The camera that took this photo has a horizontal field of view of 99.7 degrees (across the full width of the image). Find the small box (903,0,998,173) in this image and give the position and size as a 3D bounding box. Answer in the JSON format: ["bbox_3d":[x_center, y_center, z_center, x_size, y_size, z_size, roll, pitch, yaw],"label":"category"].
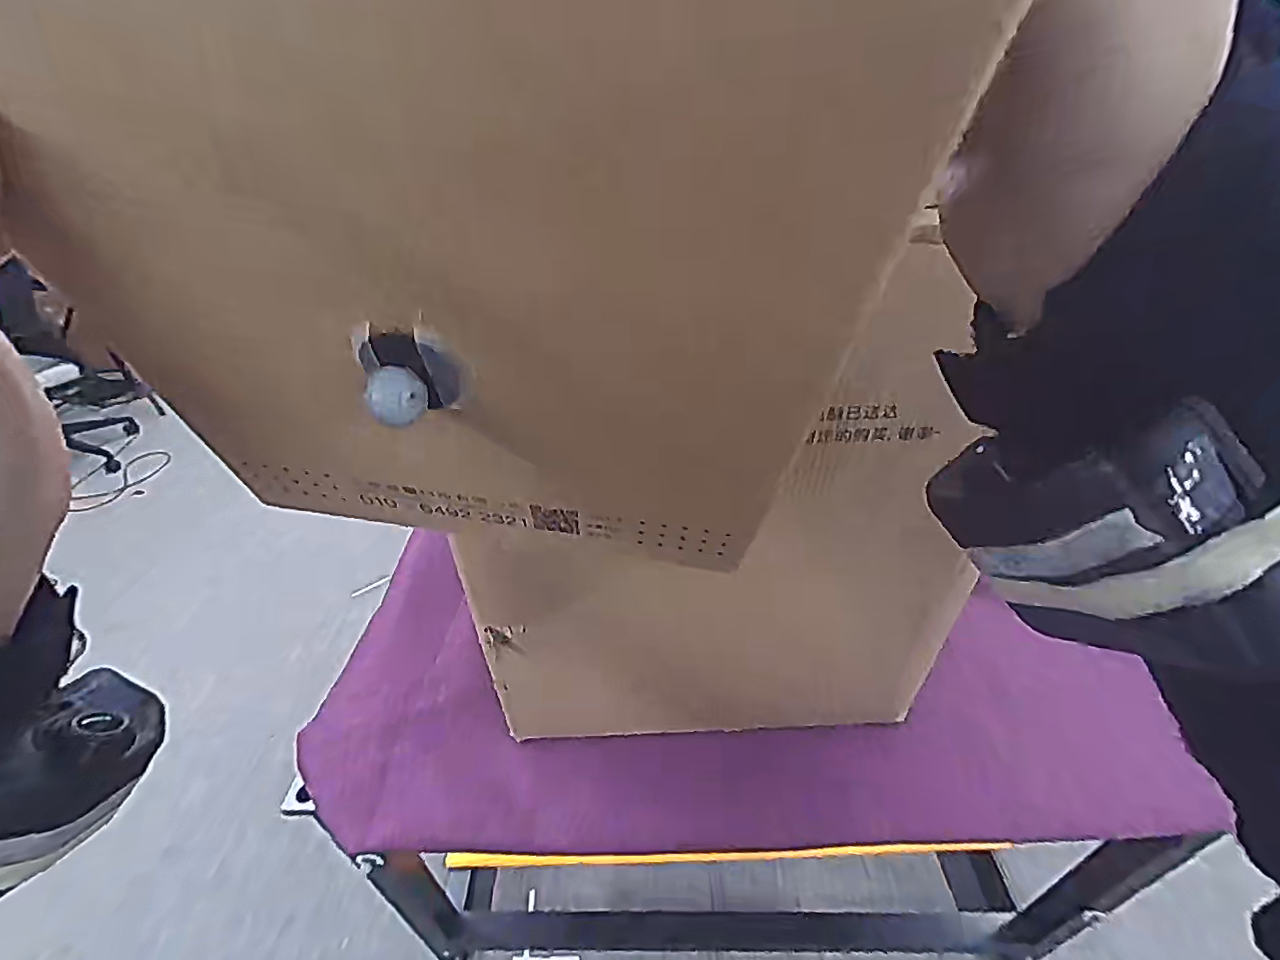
[{"bbox_3d":[0.211,-0.396,0.522,0.179,0.176,0.168,-2,36,-1],"label":"small box"}]
